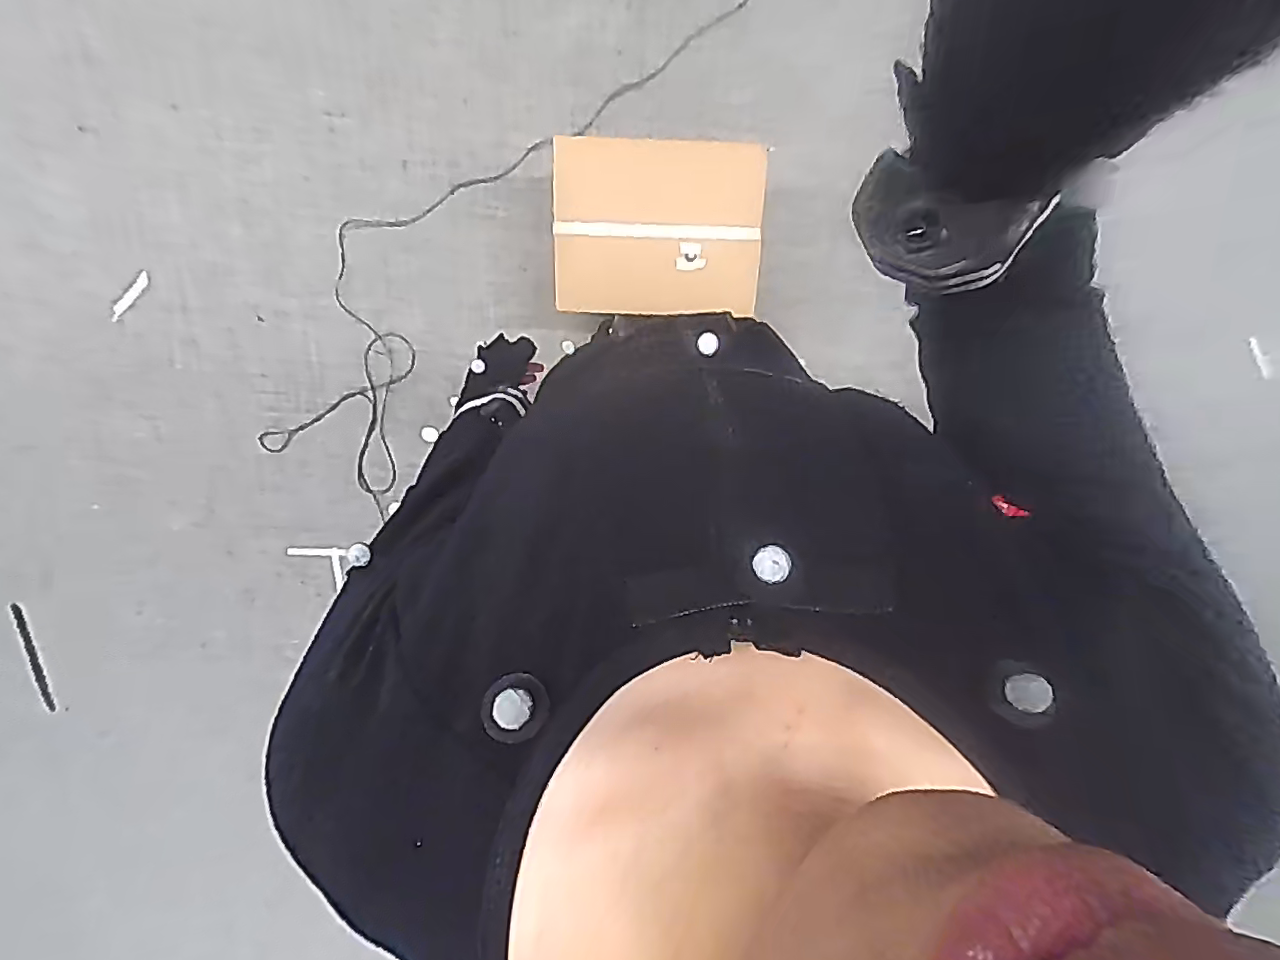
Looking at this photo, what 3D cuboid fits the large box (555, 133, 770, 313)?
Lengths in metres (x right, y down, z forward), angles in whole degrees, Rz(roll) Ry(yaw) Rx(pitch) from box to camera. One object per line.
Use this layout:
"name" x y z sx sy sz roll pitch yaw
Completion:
"large box" 0.036 -0.531 1.182 0.408 0.320 0.320 1 108 -1
